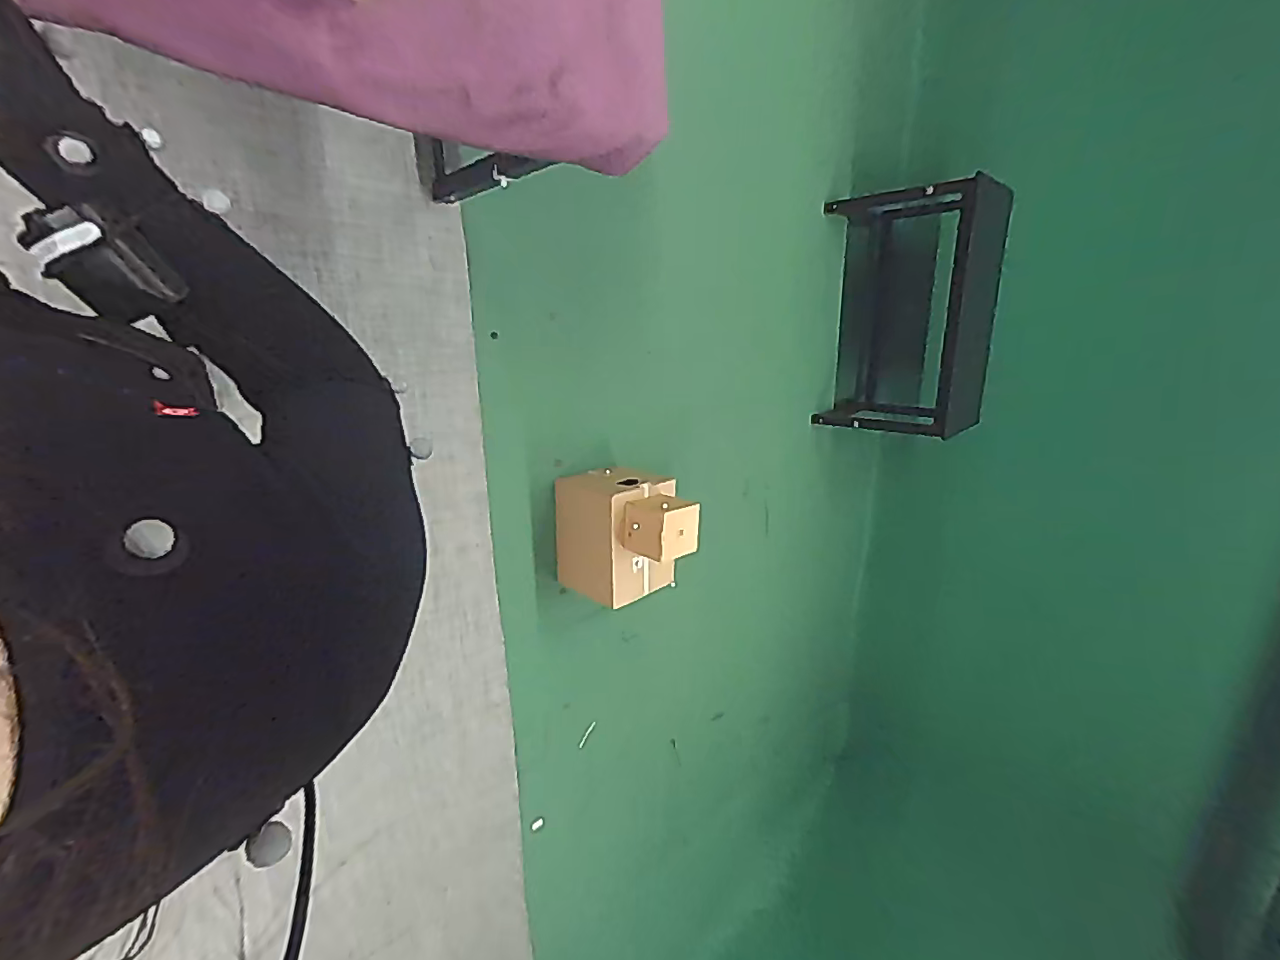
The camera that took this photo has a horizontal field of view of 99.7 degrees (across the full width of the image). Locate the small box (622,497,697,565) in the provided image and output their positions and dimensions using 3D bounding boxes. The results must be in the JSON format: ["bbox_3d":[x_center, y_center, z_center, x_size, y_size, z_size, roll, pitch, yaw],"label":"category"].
[{"bbox_3d":[0.062,0.159,1.763,0.179,0.176,0.168,-11,109,-44],"label":"small box"}]

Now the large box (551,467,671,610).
[{"bbox_3d":[-0.103,0.192,1.956,0.320,0.320,0.408,-14,111,-43],"label":"large box"}]
